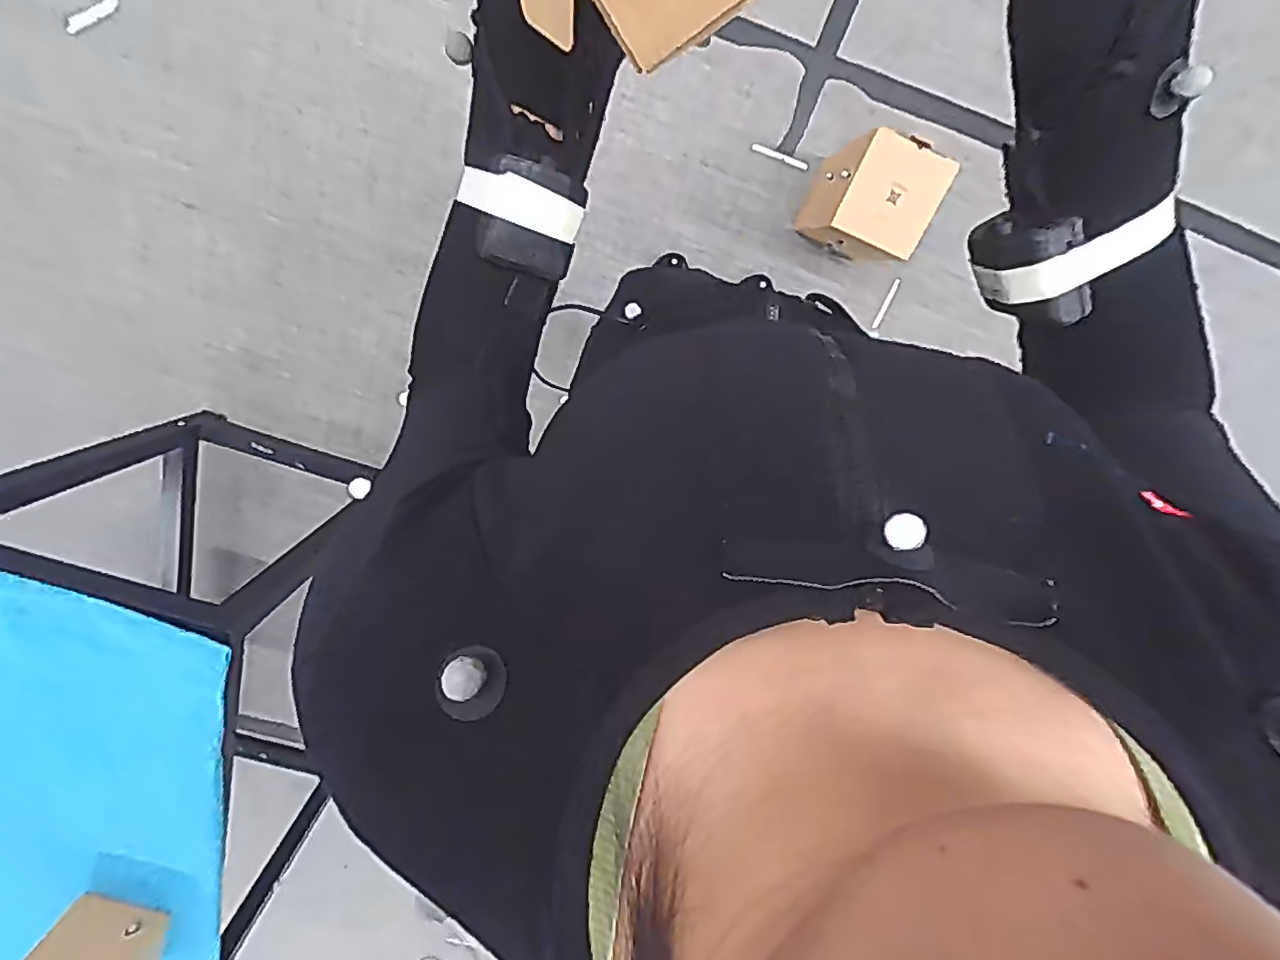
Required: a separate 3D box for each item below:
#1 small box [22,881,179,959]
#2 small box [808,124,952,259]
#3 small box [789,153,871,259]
[{"bbox_3d":[-1.069,0.945,1.063,0.179,0.176,0.168,22,110,-9],"label":"small box"},{"bbox_3d":[0.455,-0.554,1.062,0.168,0.176,0.179,22,111,-7],"label":"small box"},{"bbox_3d":[0.466,-0.615,1.212,0.179,0.176,0.168,22,110,-9],"label":"small box"}]
